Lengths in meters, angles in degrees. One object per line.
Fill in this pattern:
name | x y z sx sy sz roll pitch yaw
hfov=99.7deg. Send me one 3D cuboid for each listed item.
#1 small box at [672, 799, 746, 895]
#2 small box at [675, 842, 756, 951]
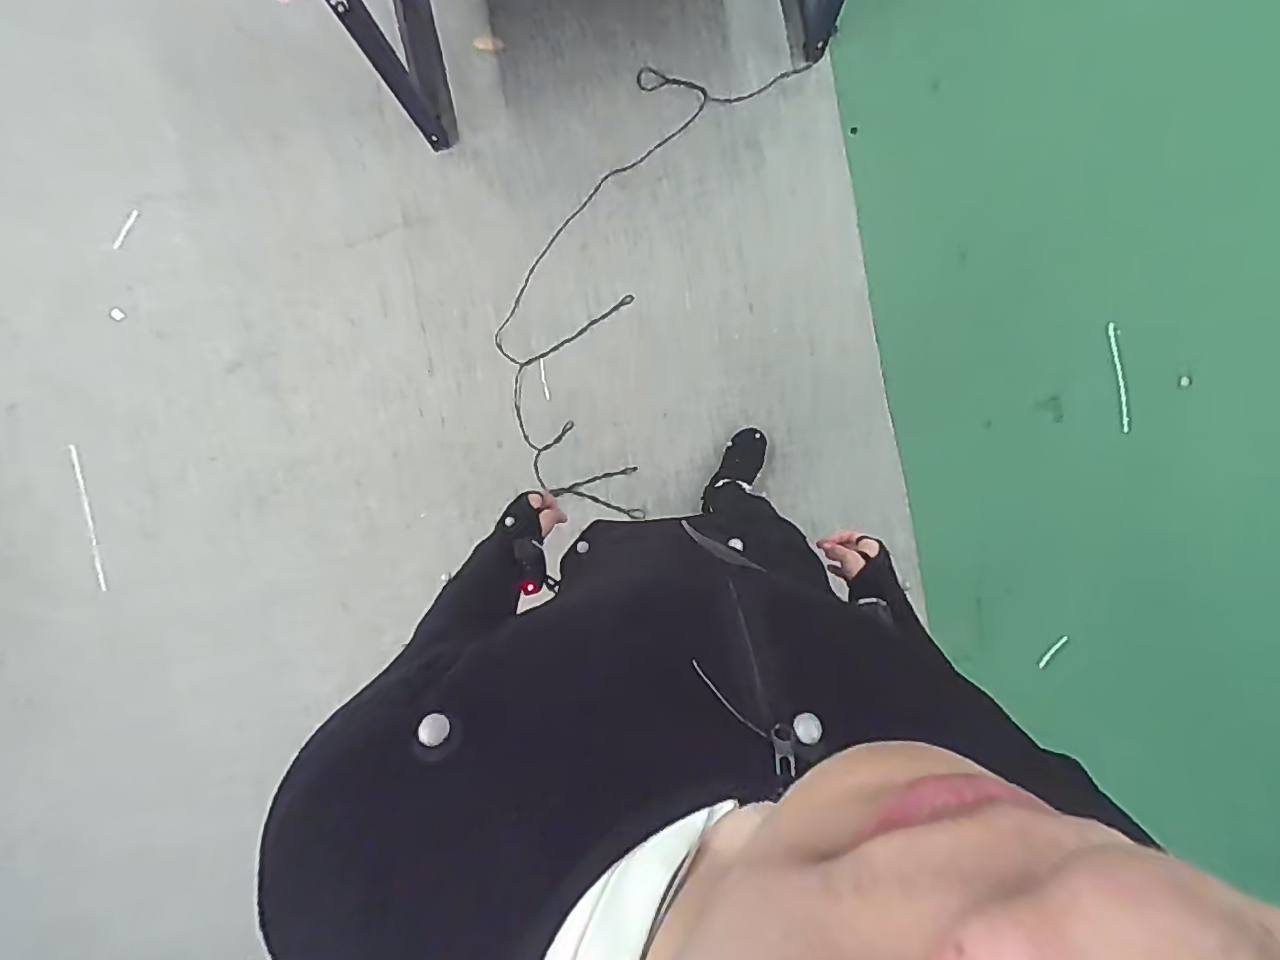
small box | 0.194 1.063 1.551 0.168 0.176 0.179 -16 90 3
small box | 0.186 1.068 1.388 0.168 0.176 0.179 -13 92 3
